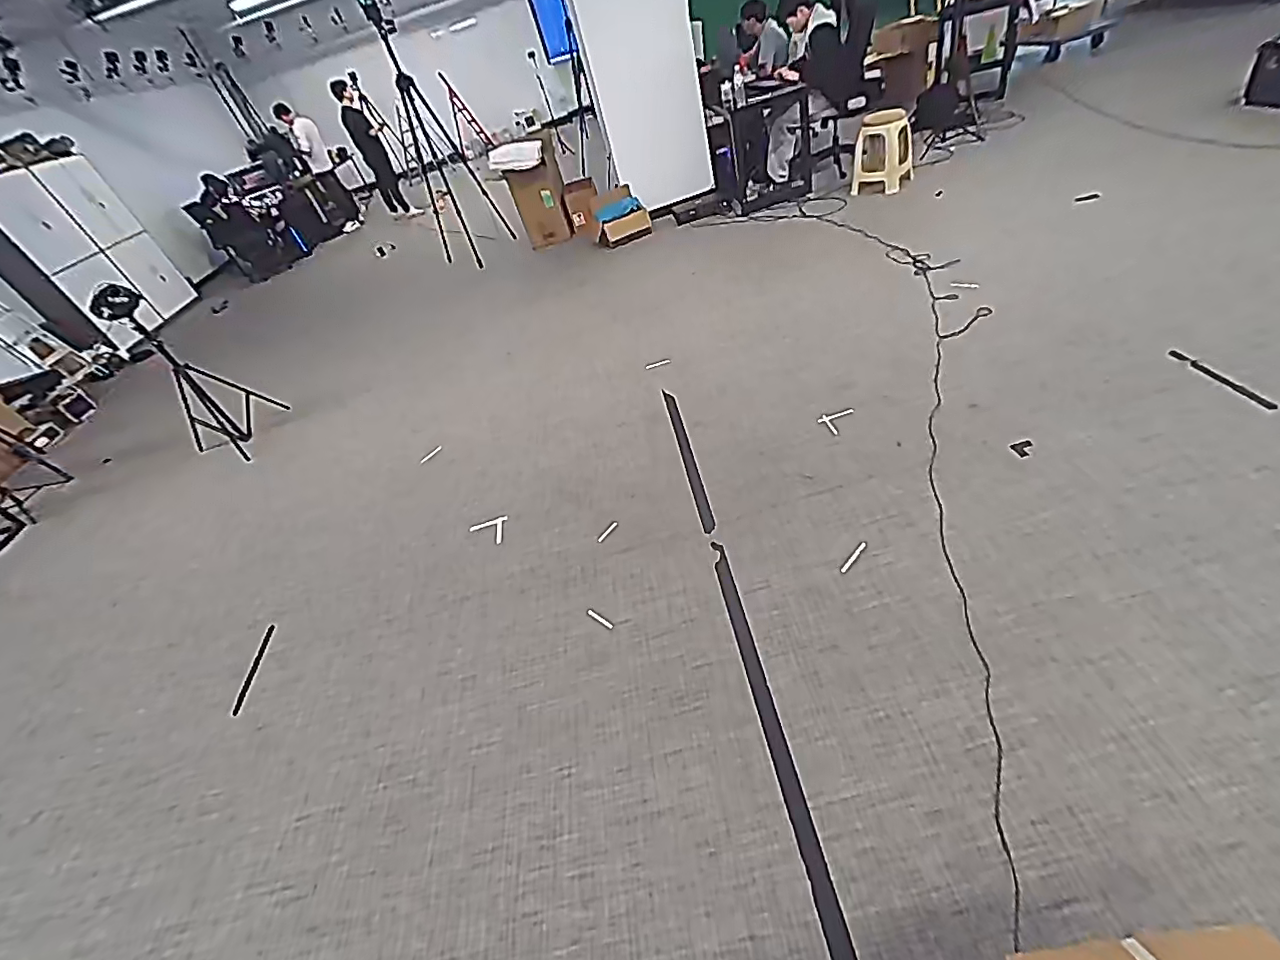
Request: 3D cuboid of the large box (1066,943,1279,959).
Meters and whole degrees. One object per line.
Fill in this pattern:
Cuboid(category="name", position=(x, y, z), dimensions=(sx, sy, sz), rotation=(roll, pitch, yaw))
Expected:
Cuboid(category="large box", position=(0.638, 0.733, 0.485), dimensions=(0.320, 0.408, 0.320), rotation=(-15, 79, 8))
